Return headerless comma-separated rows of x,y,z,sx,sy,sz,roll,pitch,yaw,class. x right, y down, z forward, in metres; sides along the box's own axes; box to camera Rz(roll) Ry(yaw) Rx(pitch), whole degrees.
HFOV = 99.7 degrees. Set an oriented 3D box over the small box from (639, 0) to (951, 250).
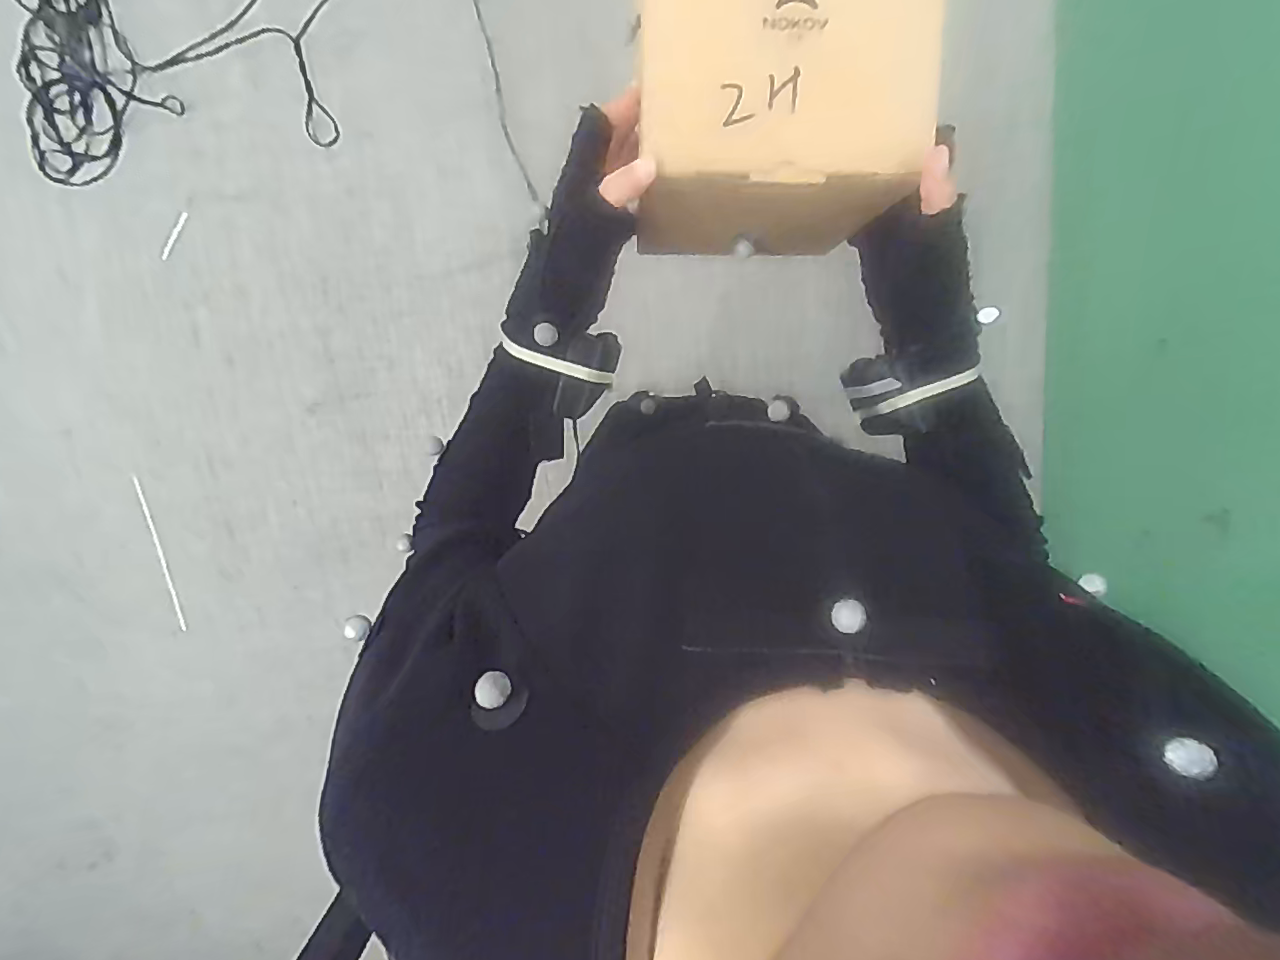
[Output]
0.084,-0.275,0.369,0.168,0.176,0.179,0,97,-1,small box
